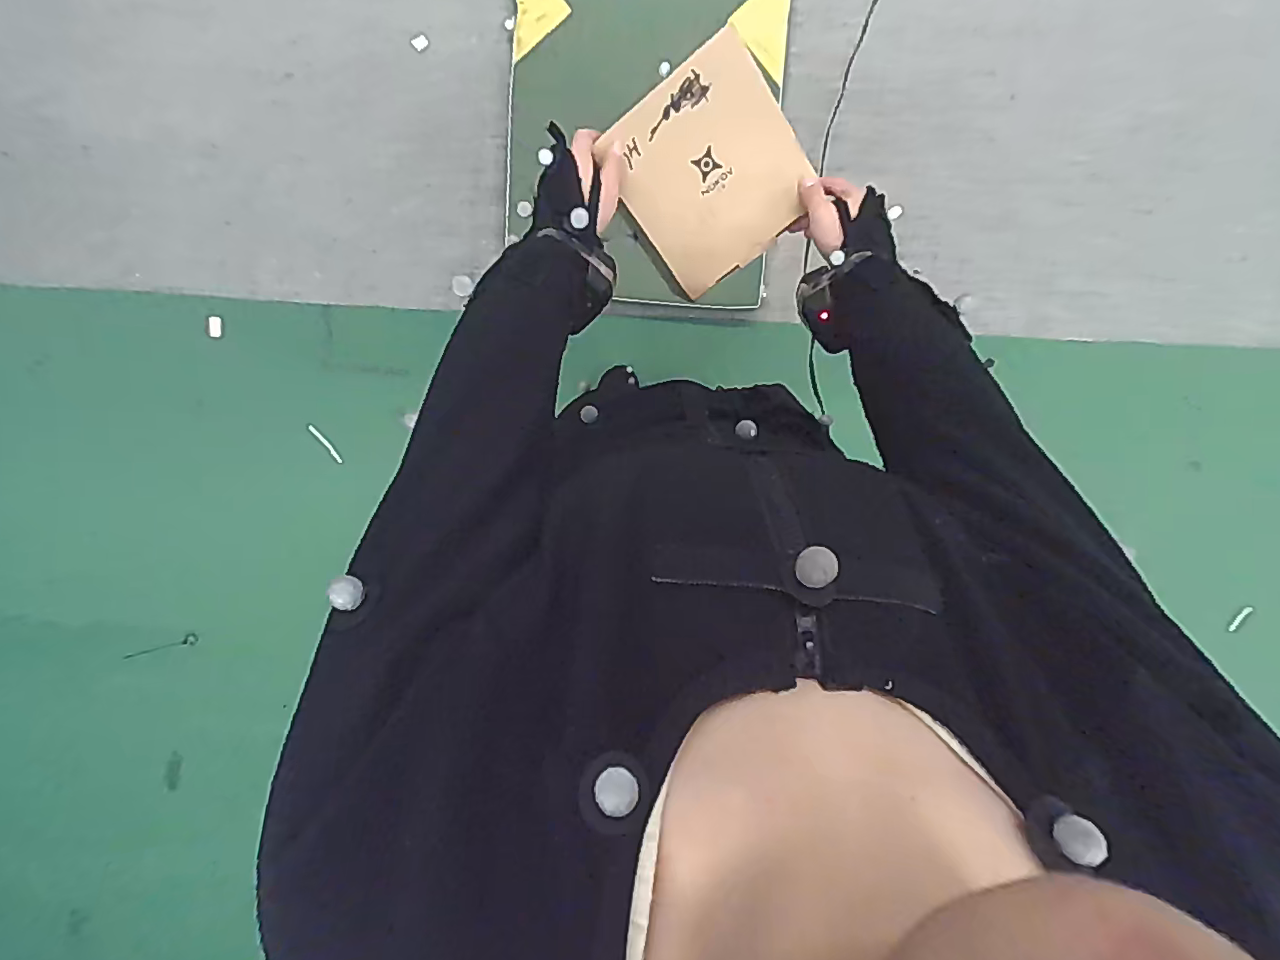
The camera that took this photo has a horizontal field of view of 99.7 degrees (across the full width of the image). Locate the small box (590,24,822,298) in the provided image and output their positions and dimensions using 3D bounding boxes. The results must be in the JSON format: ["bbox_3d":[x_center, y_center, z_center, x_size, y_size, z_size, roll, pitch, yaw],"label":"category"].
[{"bbox_3d":[0.063,-0.328,0.593,0.168,0.176,0.179,-36,110,10],"label":"small box"}]
